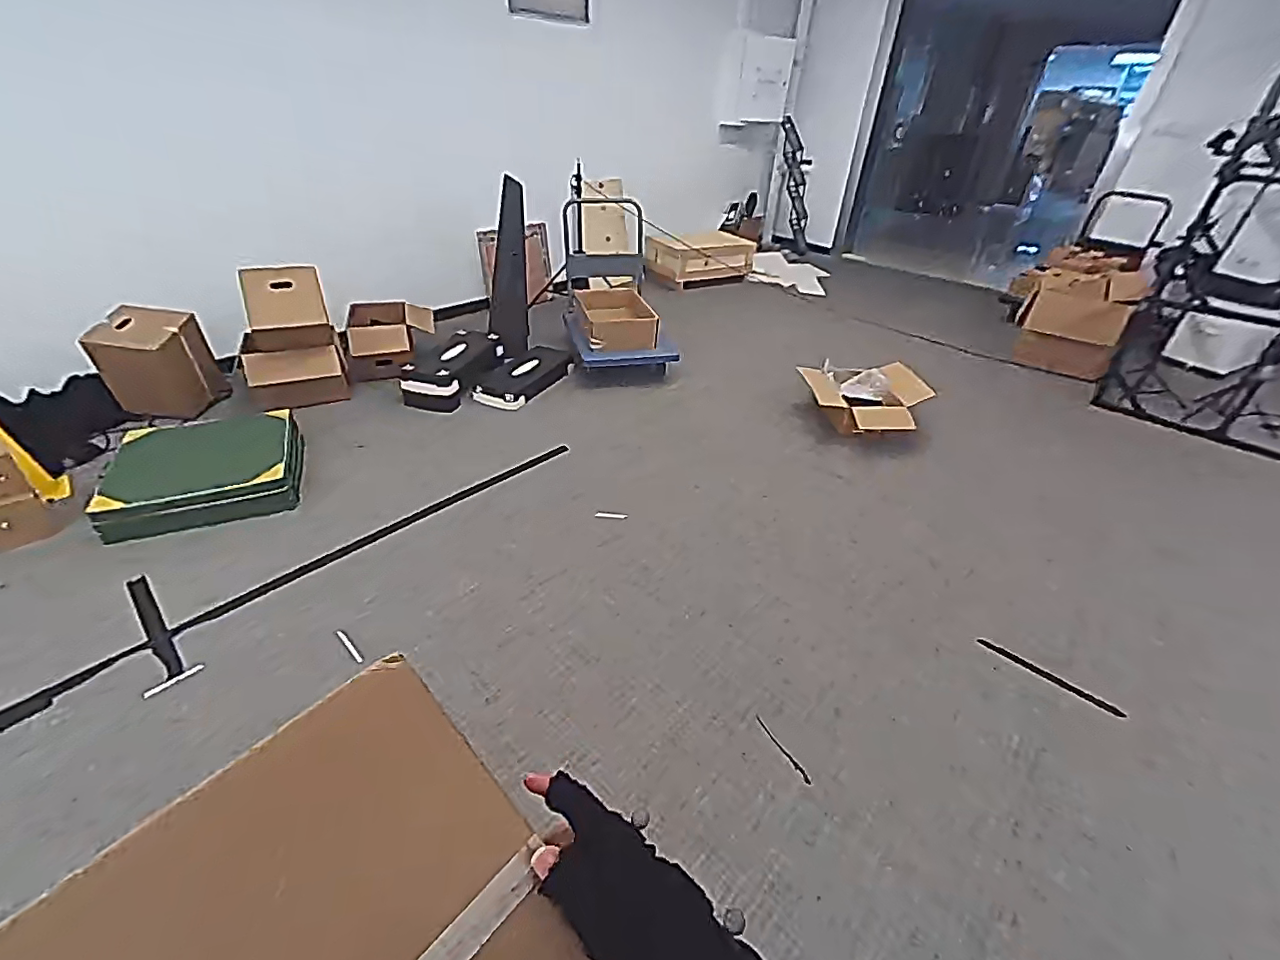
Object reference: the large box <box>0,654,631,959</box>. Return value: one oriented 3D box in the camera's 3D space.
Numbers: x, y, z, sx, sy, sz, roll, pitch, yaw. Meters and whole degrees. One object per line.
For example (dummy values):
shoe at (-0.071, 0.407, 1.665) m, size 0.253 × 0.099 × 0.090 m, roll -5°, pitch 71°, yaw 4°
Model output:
large box at (-0.256, 0.392, 0.351) m, size 0.408 × 0.320 × 0.320 m, roll -35°, pitch 83°, yaw -36°
